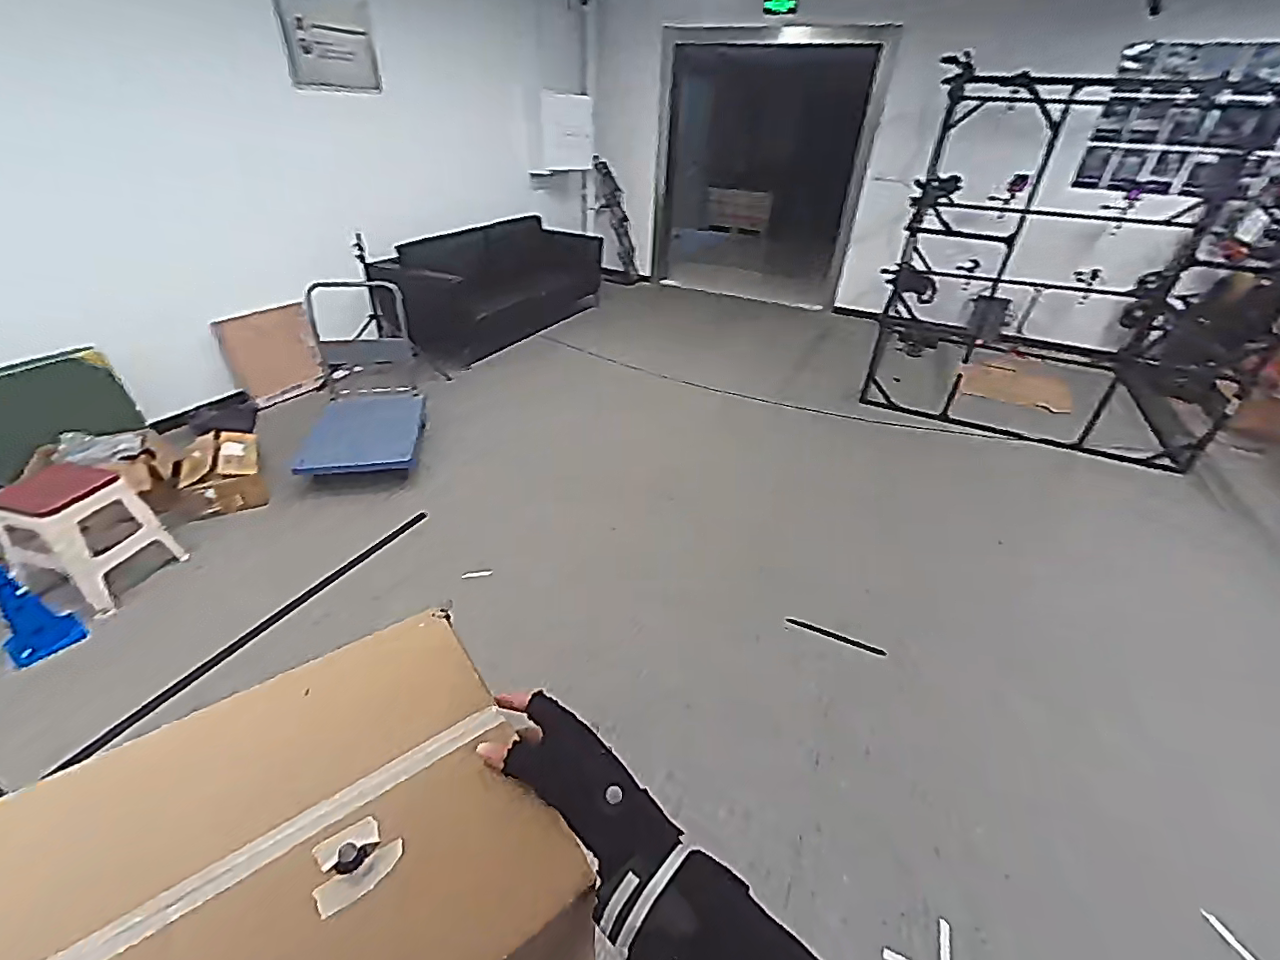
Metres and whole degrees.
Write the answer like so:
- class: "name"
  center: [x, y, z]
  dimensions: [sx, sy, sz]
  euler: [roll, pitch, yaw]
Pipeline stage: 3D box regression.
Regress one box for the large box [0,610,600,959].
- class: "large box"
  center: [-0.284, 0.401, 0.494]
  dimensions: [0.408, 0.320, 0.320]
  euler: [-21, 43, -30]
